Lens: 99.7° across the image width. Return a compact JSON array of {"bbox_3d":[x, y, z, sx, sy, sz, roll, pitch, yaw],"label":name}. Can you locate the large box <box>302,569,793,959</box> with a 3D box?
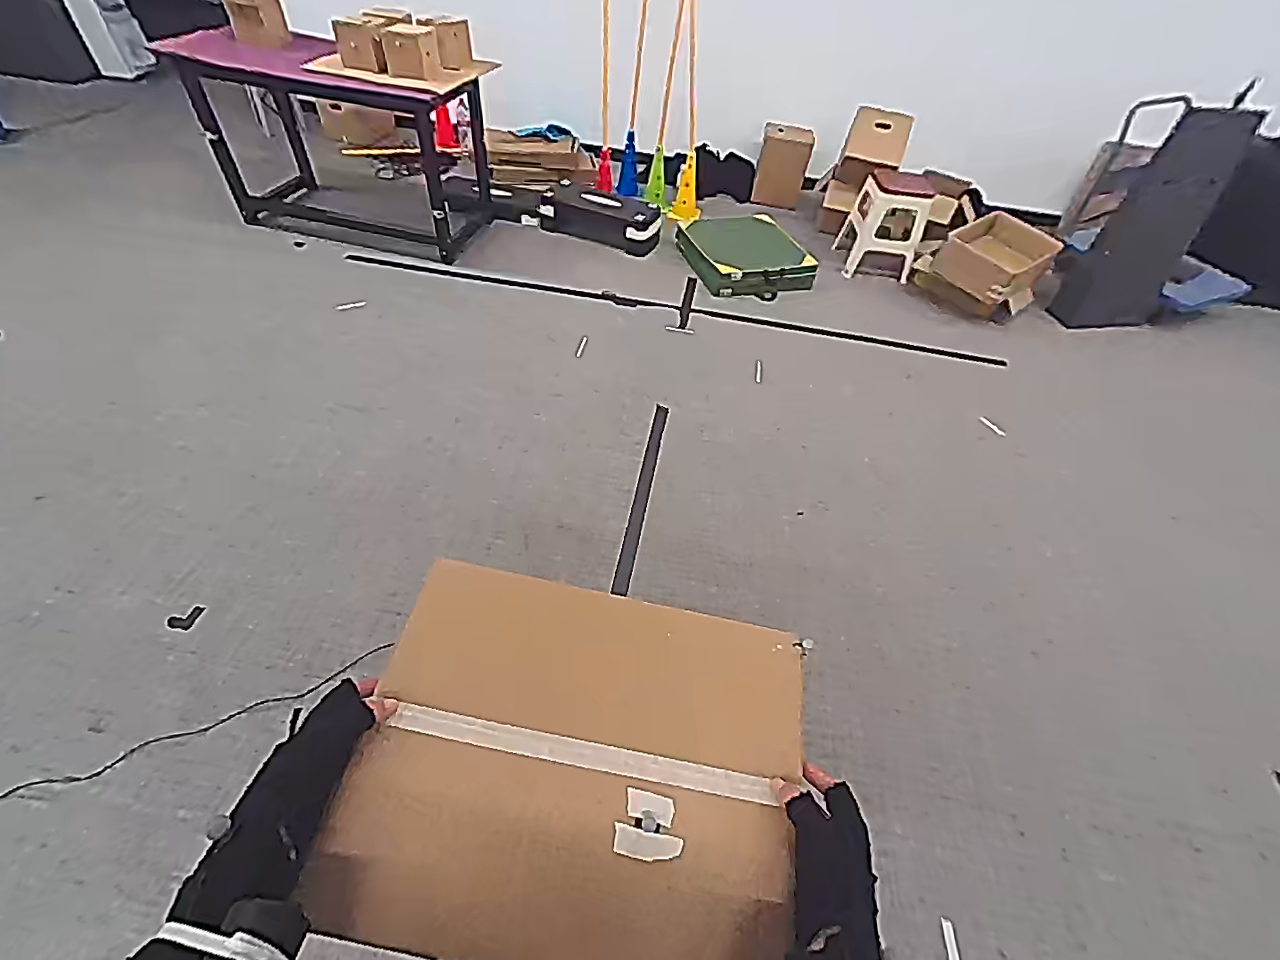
[{"bbox_3d":[-0.071,0.338,0.632,0.408,0.320,0.320,12,56,-1],"label":"large box"}]
